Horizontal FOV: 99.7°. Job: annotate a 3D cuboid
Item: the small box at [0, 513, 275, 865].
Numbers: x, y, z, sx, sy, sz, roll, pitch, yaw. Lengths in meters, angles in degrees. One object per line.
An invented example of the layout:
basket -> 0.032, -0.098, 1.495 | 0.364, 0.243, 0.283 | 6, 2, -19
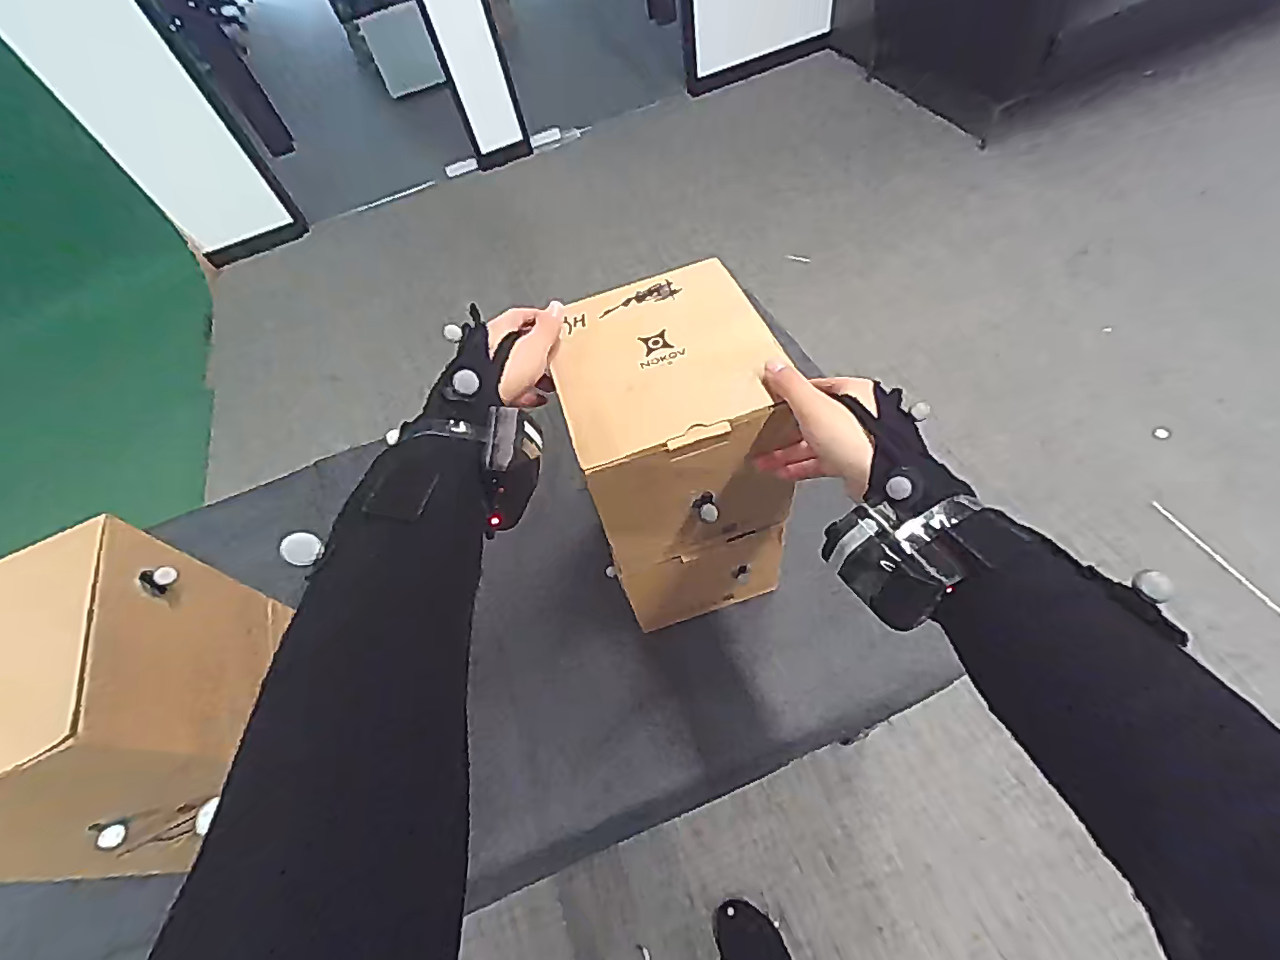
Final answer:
small box -> -0.415, 0.163, 0.410 | 0.168, 0.176, 0.179 | -27, 57, -7

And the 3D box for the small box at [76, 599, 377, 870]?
small box -> -0.389, 0.255, 0.544 | 0.168, 0.176, 0.179 | -24, 55, -7

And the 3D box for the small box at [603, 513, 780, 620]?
small box -> 0.044, 0.041, 0.608 | 0.168, 0.176, 0.179 | -17, 55, -3

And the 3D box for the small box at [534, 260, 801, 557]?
small box -> 0.023, -0.050, 0.473 | 0.168, 0.176, 0.179 | -18, 56, -3
